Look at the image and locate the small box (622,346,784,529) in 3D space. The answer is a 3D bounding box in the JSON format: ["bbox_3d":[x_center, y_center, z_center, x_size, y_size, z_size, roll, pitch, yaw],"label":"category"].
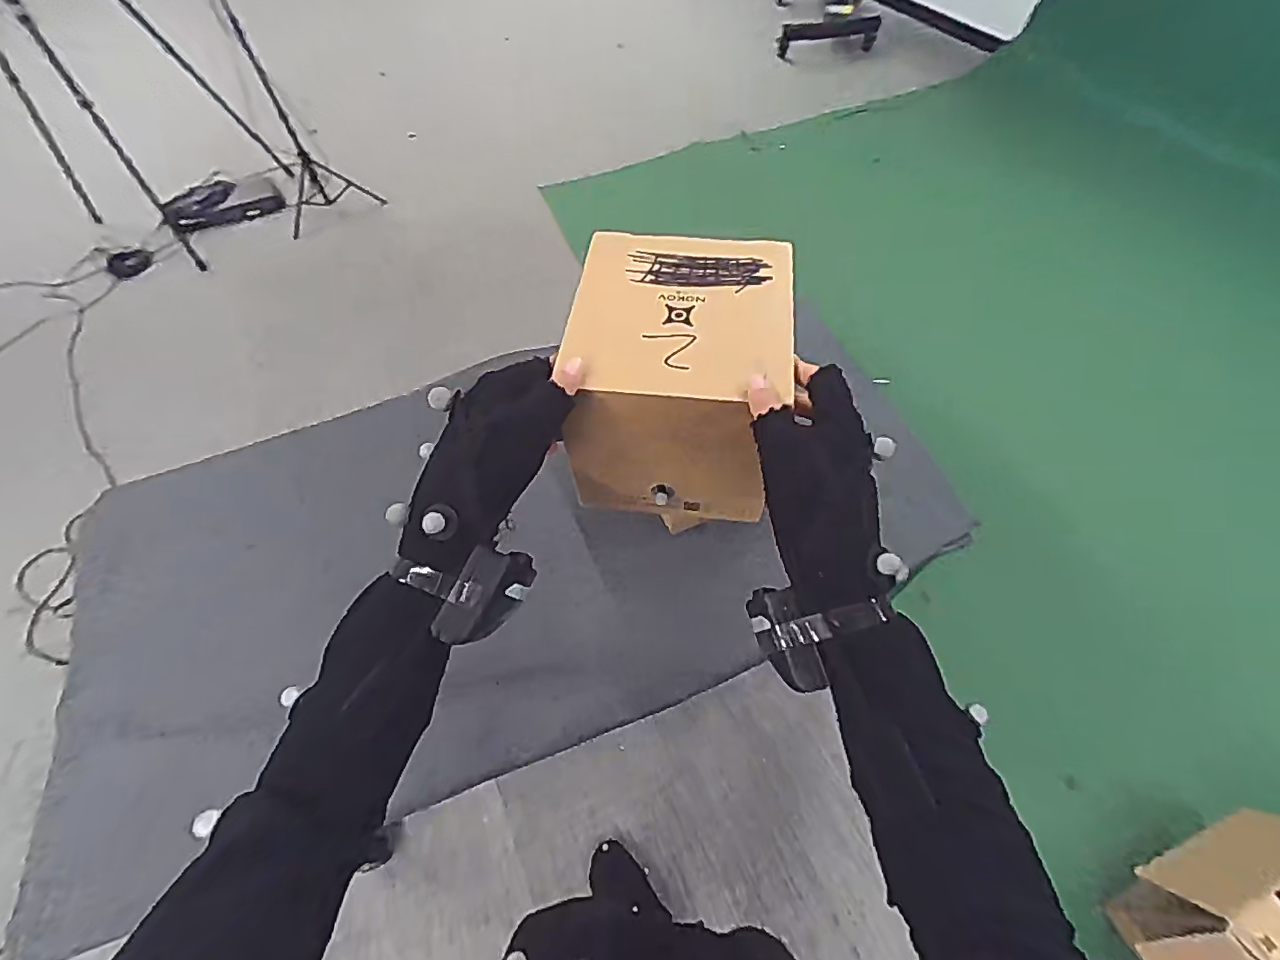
[{"bbox_3d":[0.082,-0.059,0.793,0.168,0.176,0.179,-22,59,-11],"label":"small box"}]
